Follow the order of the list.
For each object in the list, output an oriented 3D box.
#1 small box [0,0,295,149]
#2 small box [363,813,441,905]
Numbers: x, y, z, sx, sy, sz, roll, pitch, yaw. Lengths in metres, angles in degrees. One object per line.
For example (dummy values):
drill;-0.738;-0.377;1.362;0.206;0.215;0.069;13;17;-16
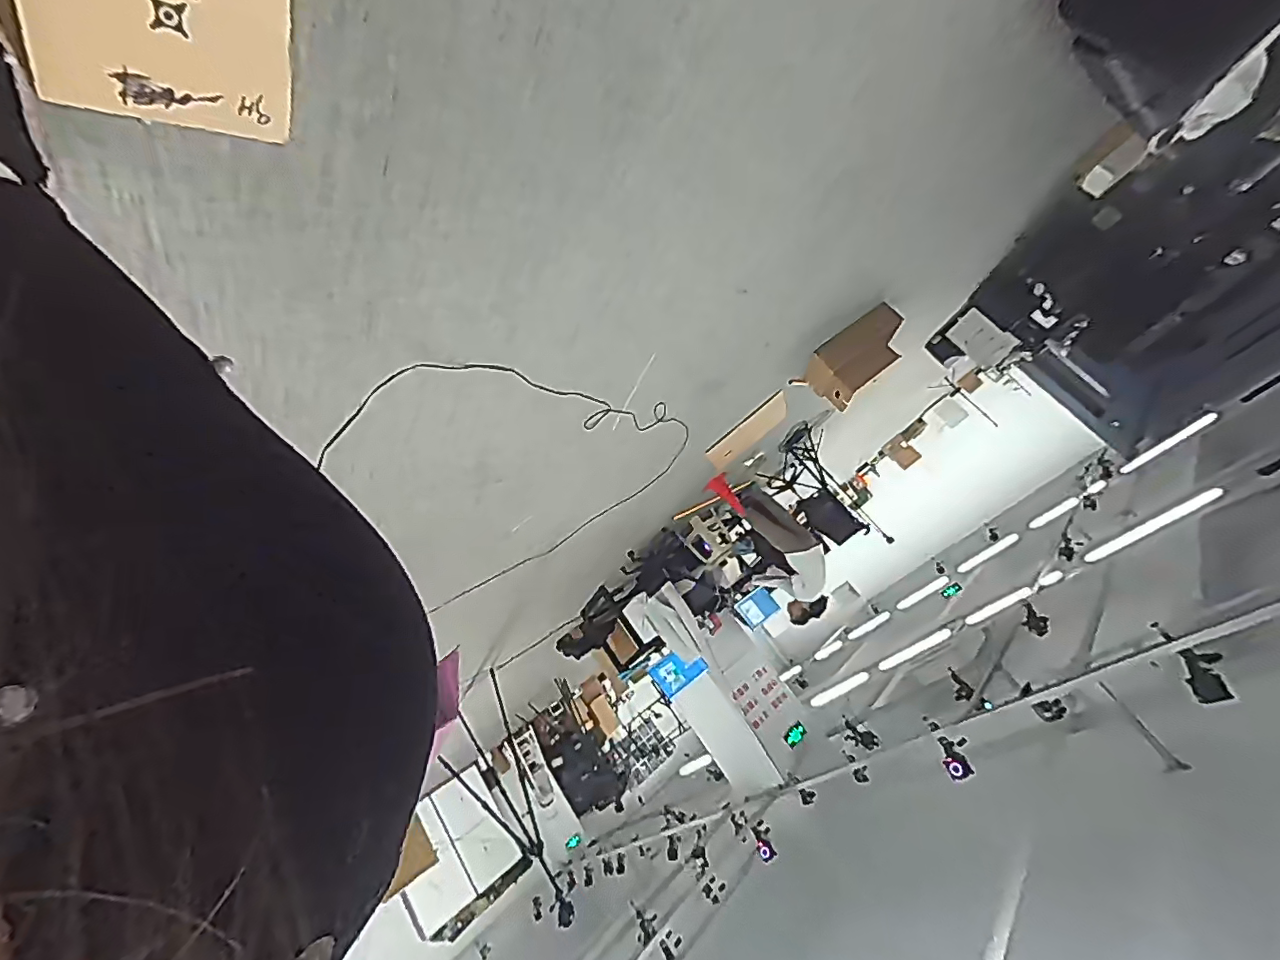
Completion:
small box;-0.397;-0.407;0.426;0.168;0.176;0.179;-20;152;-45
small box;-0.737;1.167;1.670;0.168;0.176;0.179;-22;155;-38
